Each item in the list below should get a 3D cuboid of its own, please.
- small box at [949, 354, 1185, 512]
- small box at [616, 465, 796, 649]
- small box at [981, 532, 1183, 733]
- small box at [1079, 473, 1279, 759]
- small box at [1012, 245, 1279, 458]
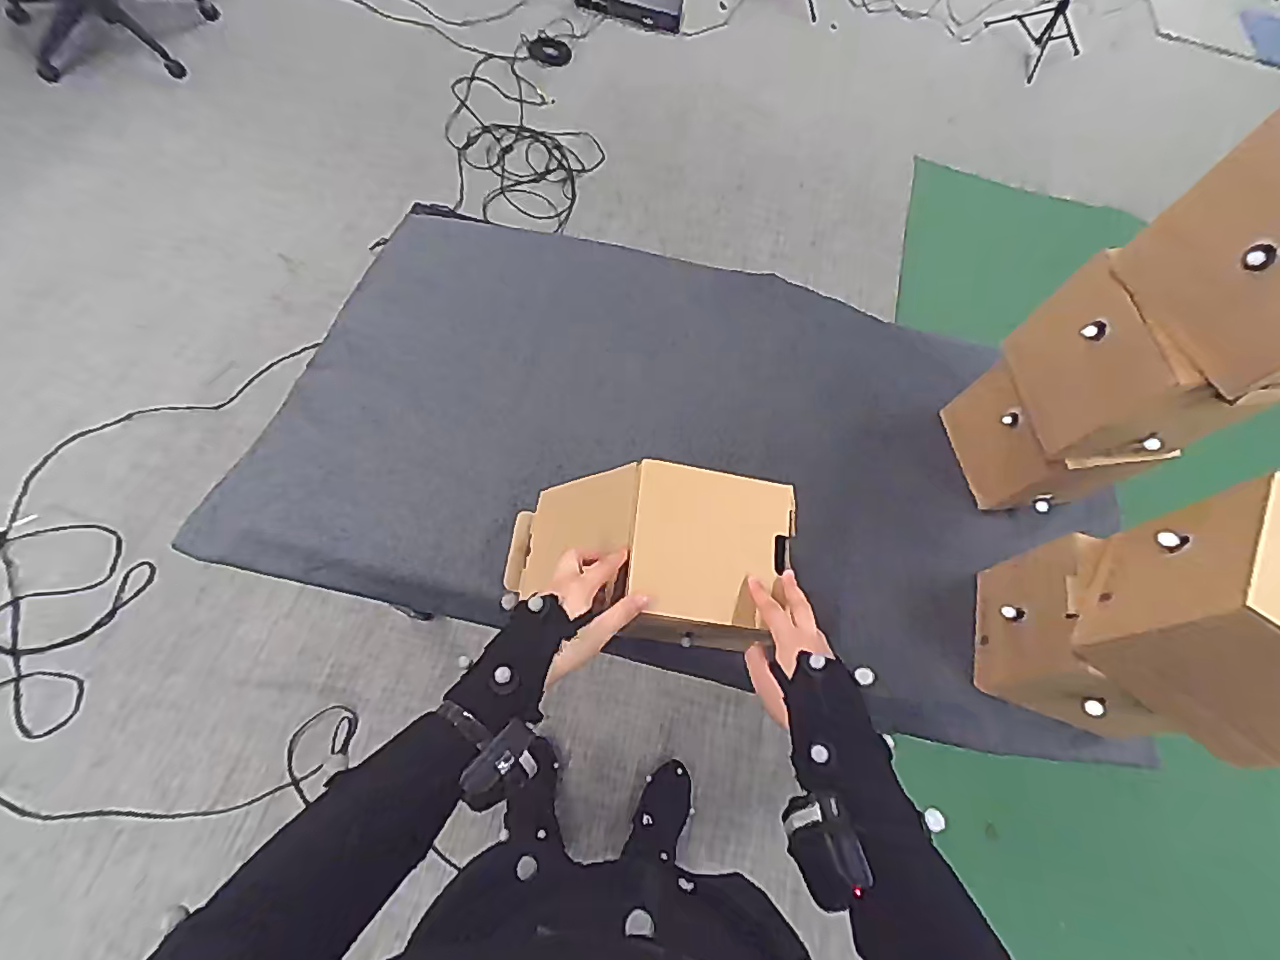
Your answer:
[{"bbox_3d":[0.582,-0.070,0.767,0.168,0.176,0.179,-7,69,-6],"label":"small box"},{"bbox_3d":[0.069,0.099,0.631,0.179,0.176,0.168,7,66,-1],"label":"small box"},{"bbox_3d":[0.541,0.190,0.644,0.179,0.176,0.168,20,62,3],"label":"small box"},{"bbox_3d":[0.561,0.132,0.491,0.179,0.176,0.168,40,65,11],"label":"small box"},{"bbox_3d":[0.574,-0.140,0.617,0.168,0.176,0.179,-3,67,-4],"label":"small box"}]
